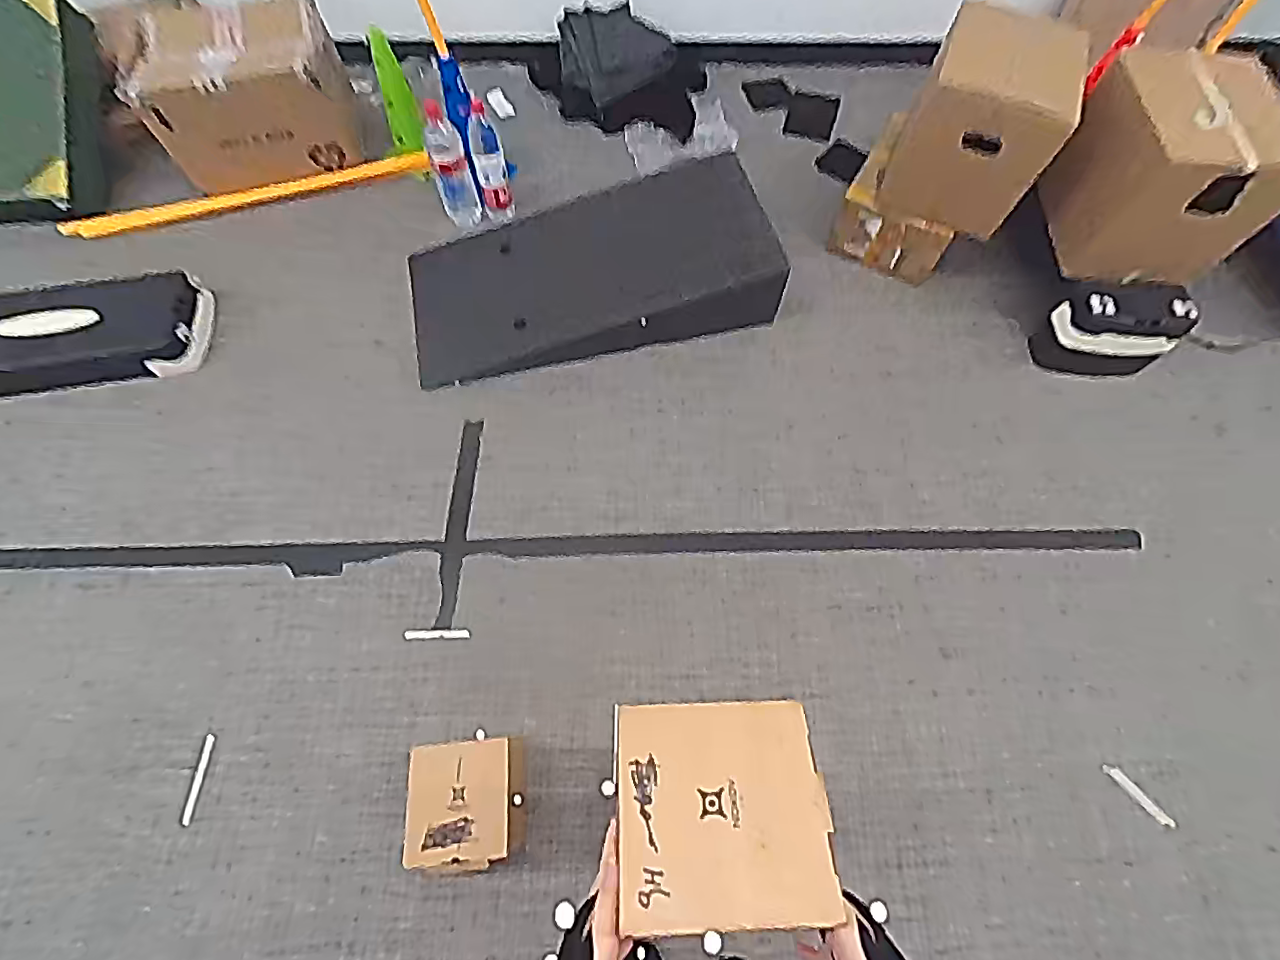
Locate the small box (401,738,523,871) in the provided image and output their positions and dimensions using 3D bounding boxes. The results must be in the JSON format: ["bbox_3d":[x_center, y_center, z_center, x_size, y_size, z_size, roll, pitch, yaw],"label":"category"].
[{"bbox_3d":[-0.301,0.559,0.953,0.168,0.176,0.179,-5,64,-4],"label":"small box"}]

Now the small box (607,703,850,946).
[{"bbox_3d":[0.061,0.315,0.497,0.179,0.176,0.168,1,51,-4],"label":"small box"}]
